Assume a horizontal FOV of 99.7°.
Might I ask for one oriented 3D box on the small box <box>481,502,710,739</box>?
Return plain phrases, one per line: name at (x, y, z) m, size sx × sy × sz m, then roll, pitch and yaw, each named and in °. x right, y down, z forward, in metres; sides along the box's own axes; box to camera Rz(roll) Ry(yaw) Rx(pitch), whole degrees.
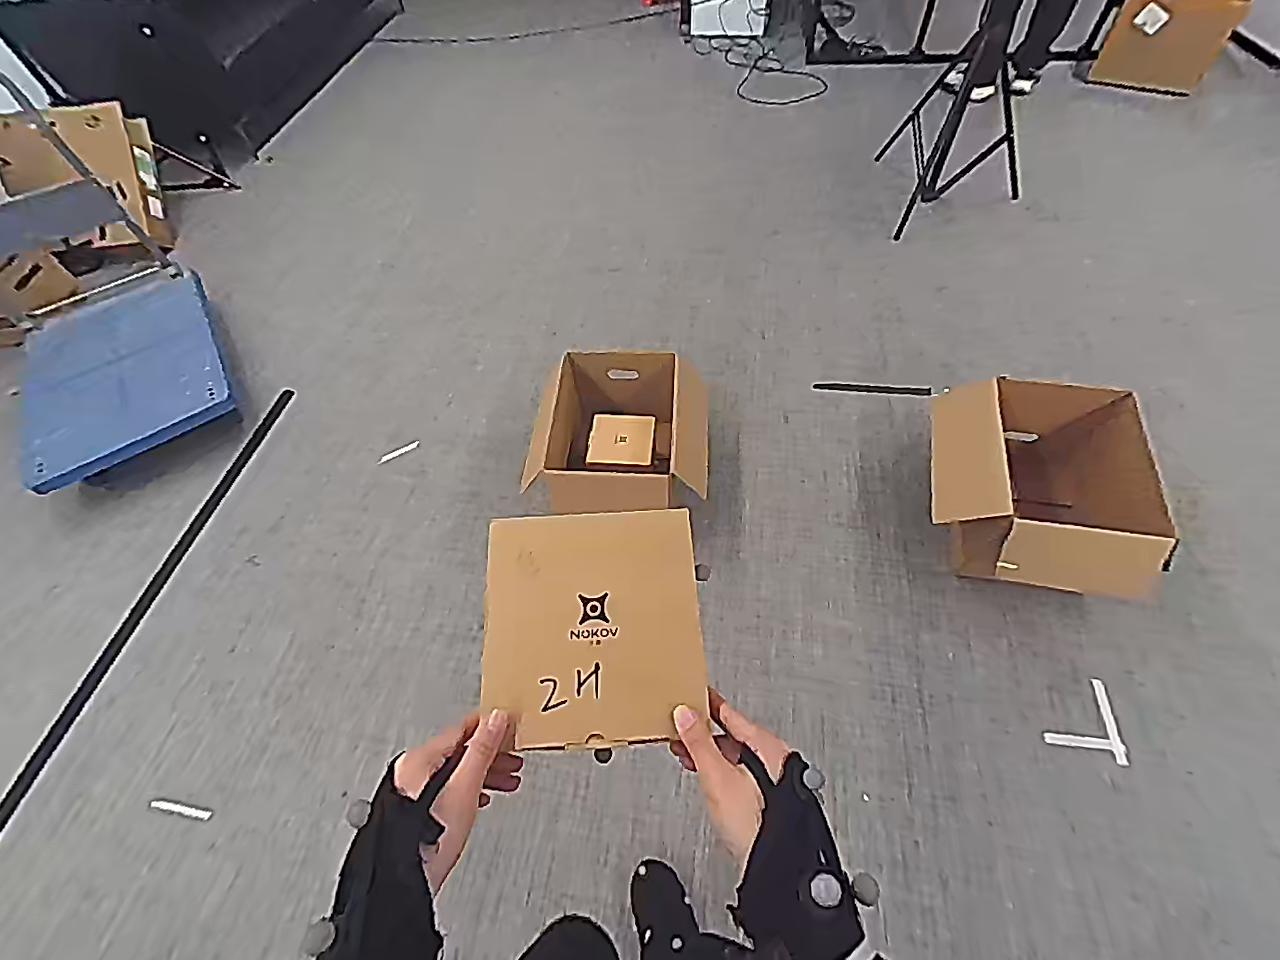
small box at (-0.037, 0.133, 0.489) m, size 0.168 × 0.176 × 0.179 m, roll -3°, pitch 66°, yaw -2°
